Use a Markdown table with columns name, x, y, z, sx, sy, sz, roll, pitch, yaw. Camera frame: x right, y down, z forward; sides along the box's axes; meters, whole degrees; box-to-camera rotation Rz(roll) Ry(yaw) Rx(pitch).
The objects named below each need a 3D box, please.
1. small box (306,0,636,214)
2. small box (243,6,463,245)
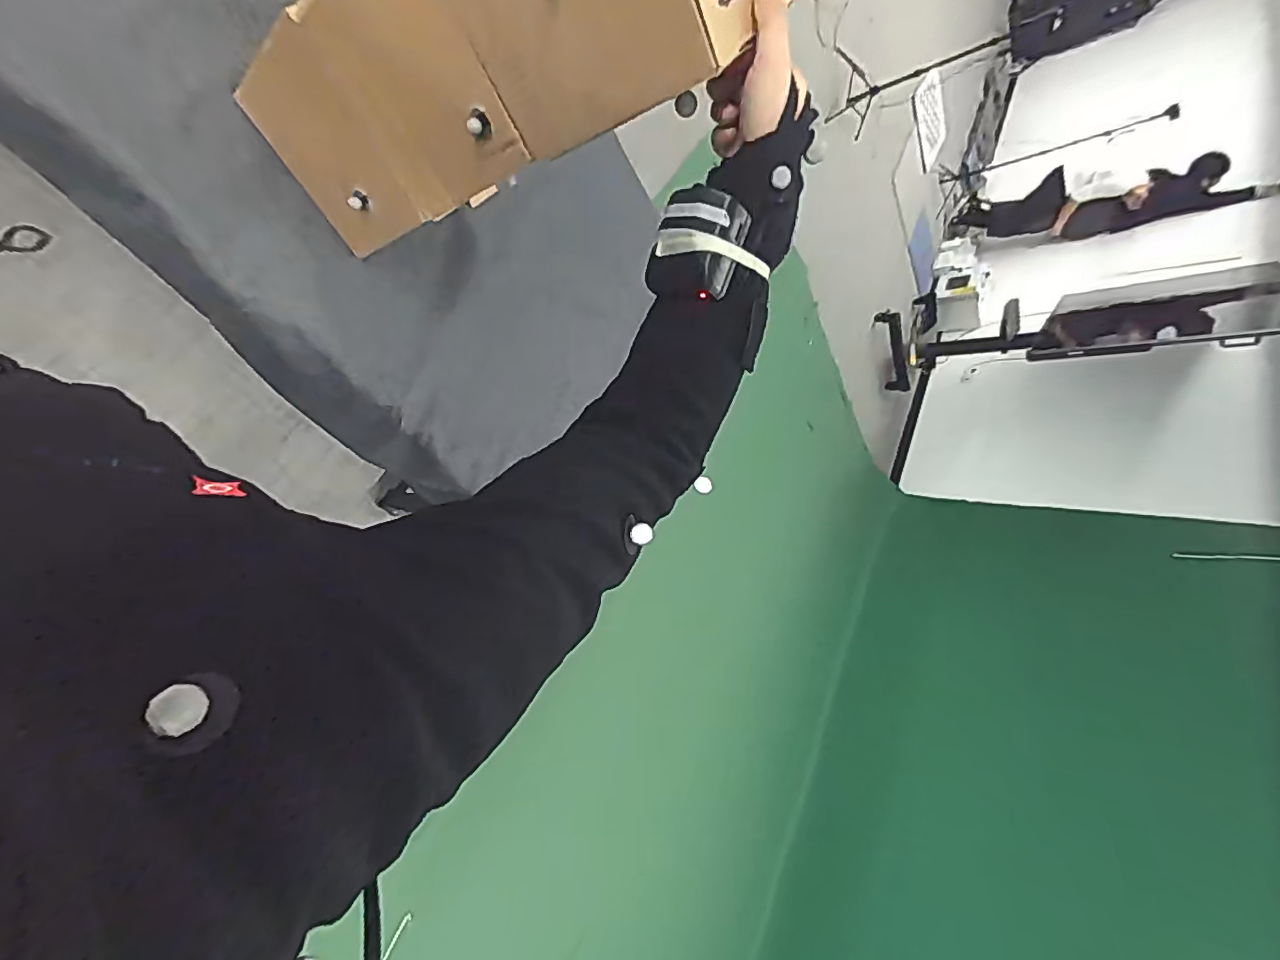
| name | x | y | z | sx | sy | sz | roll | pitch | yaw |
| --- | --- | --- | --- | --- | --- | --- | --- | --- | --- |
| small box | -0.140 | -0.366 | 0.467 | 0.168 | 0.176 | 0.179 | -56 | 131 | -31 |
| small box | -0.264 | -0.372 | 0.572 | 0.168 | 0.176 | 0.179 | -56 | 130 | -31 |
